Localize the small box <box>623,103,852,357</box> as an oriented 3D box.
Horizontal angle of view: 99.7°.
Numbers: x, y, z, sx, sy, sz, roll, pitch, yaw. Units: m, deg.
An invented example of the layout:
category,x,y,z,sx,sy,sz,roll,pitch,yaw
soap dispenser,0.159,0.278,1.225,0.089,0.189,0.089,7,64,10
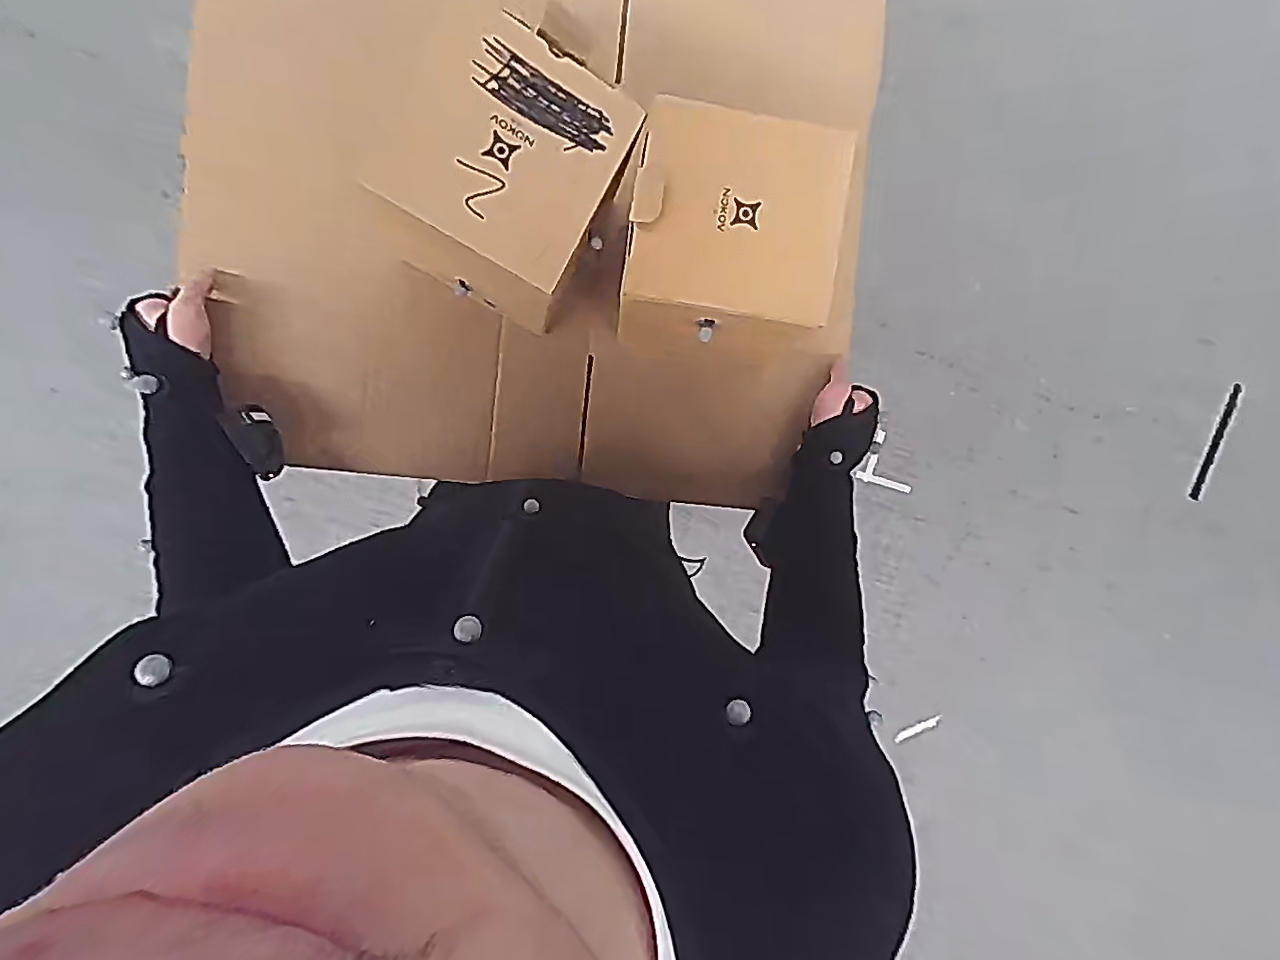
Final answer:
category,x,y,z,sx,sy,sz,roll,pitch,yaw
small box,0.081,-0.226,0.538,0.179,0.176,0.168,8,92,-2
